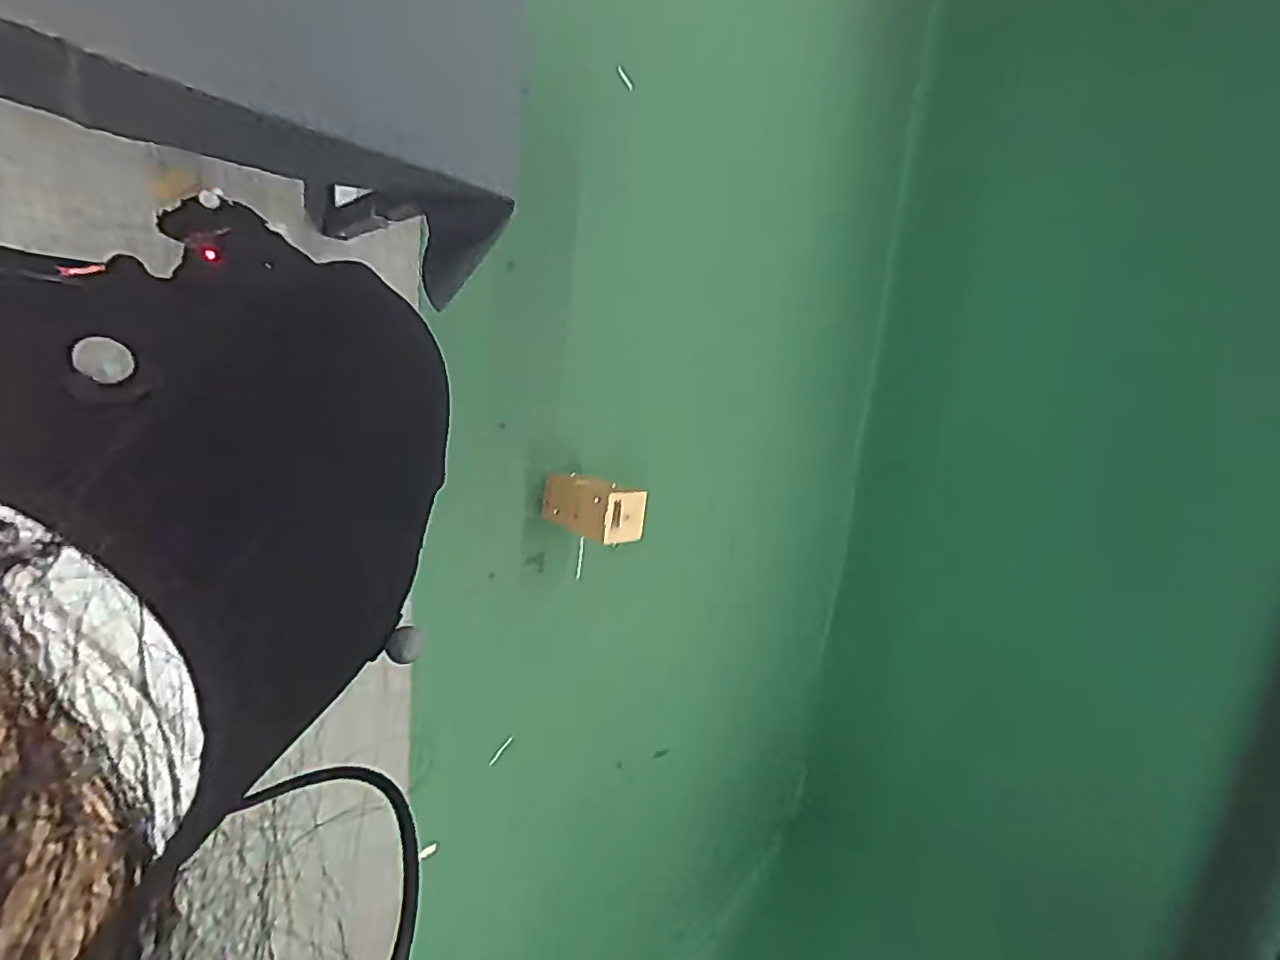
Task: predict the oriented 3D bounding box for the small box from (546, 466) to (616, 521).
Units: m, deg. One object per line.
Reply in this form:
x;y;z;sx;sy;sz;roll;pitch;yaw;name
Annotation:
-0.212;0.047;1.917;0.179;0.176;0.168;1;101;-46;small box
